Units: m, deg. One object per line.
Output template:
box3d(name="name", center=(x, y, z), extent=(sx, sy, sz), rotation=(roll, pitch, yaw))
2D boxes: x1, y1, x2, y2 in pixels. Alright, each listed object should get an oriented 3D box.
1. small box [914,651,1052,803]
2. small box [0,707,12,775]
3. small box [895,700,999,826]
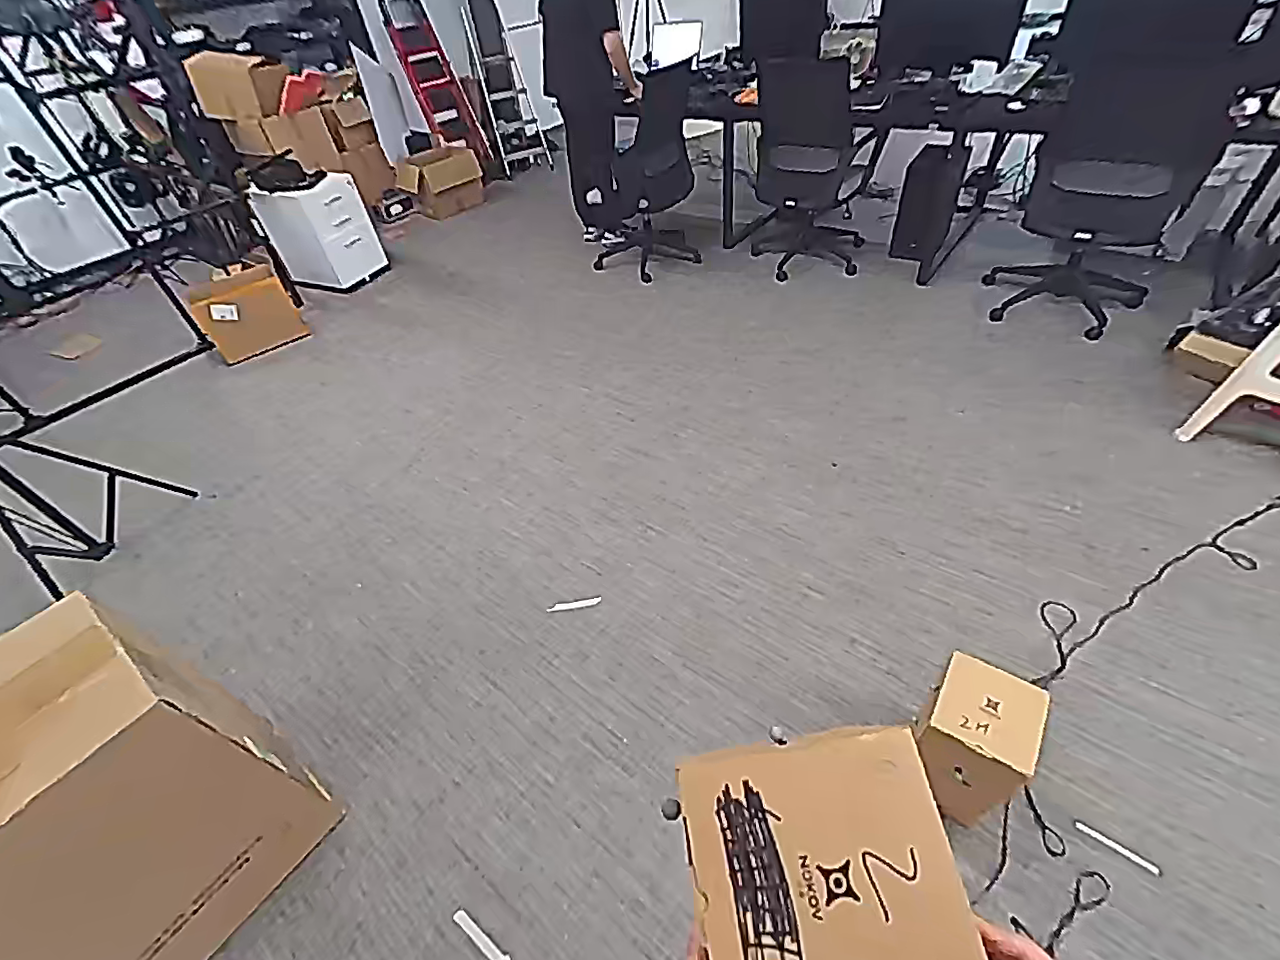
box3d(name="small box", center=(0.649, 0.472, 1.037), extent=(0.168, 0.176, 0.179), rotation=(23, 52, 29))
box3d(name="small box", center=(-1.031, 0.375, 0.735), extent=(0.179, 0.176, 0.168), rotation=(25, 53, 31))
box3d(name="small box", center=(0.667, 0.590, 1.152), extent=(0.168, 0.176, 0.179), rotation=(25, 54, 30))
